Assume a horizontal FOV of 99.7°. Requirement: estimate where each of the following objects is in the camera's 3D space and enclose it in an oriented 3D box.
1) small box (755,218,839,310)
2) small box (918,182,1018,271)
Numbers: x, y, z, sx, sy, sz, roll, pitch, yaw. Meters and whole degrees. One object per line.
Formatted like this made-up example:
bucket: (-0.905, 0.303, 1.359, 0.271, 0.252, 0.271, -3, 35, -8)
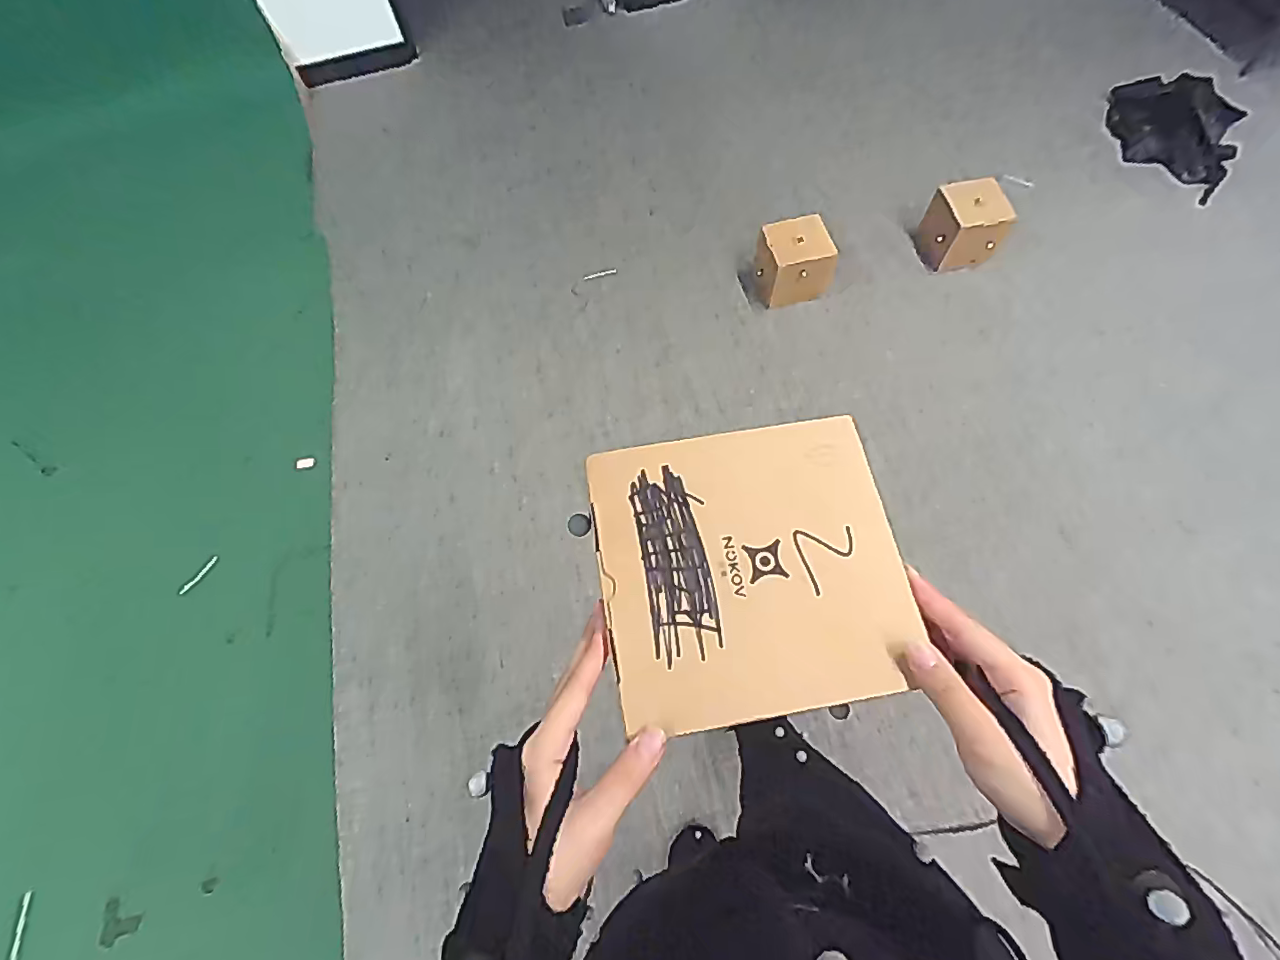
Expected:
small box: (0.454, -0.632, 1.593, 0.179, 0.176, 0.168, -13, 65, -1)
small box: (0.965, -0.745, 1.608, 0.168, 0.176, 0.179, -9, 64, -1)
